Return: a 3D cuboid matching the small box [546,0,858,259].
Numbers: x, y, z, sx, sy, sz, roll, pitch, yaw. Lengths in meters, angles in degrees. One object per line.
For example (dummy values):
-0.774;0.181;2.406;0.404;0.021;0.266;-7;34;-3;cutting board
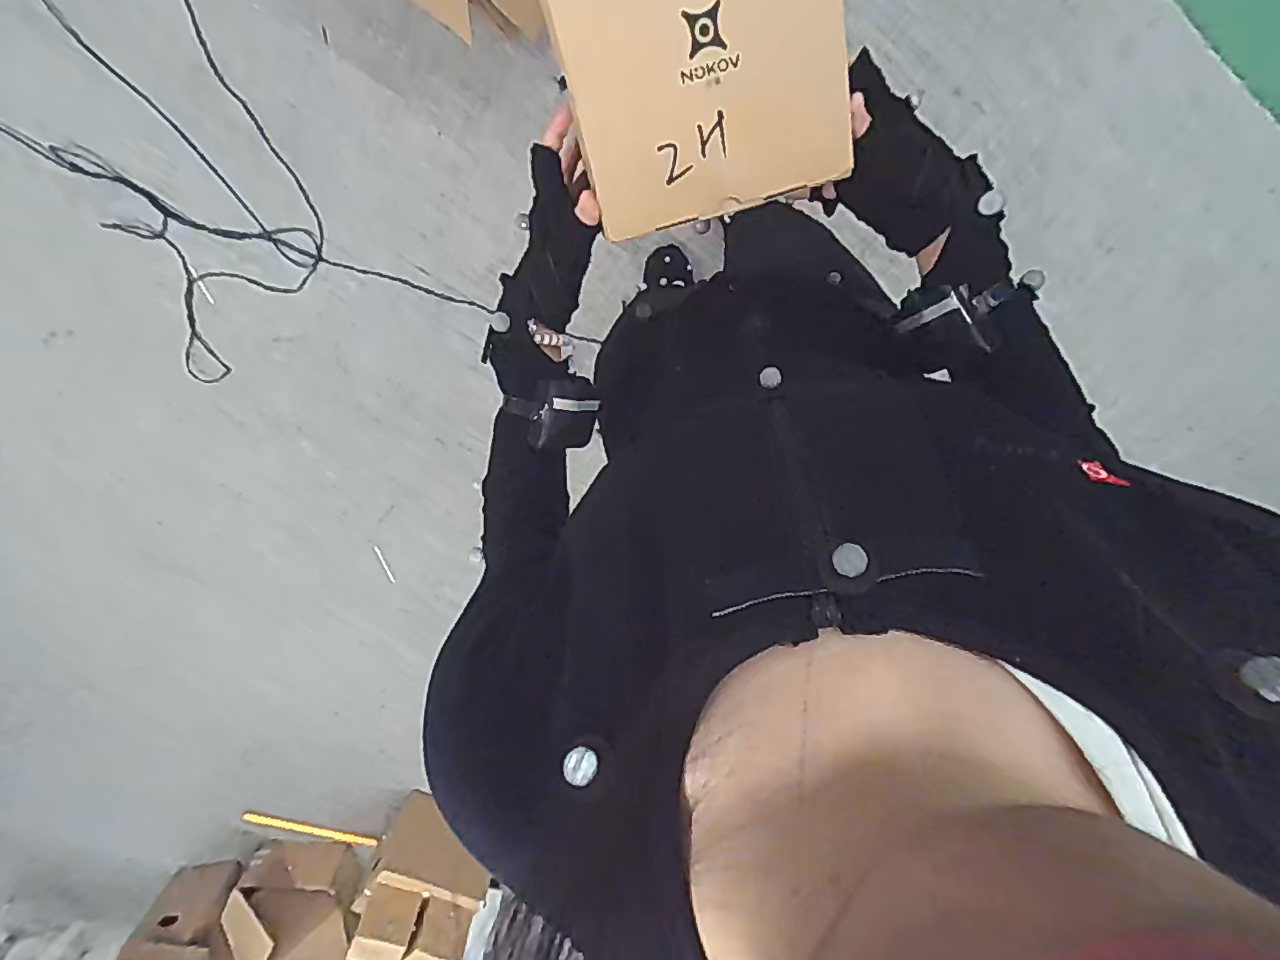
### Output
0.034;-0.272;0.384;0.168;0.176;0.179;-15;117;3;small box
